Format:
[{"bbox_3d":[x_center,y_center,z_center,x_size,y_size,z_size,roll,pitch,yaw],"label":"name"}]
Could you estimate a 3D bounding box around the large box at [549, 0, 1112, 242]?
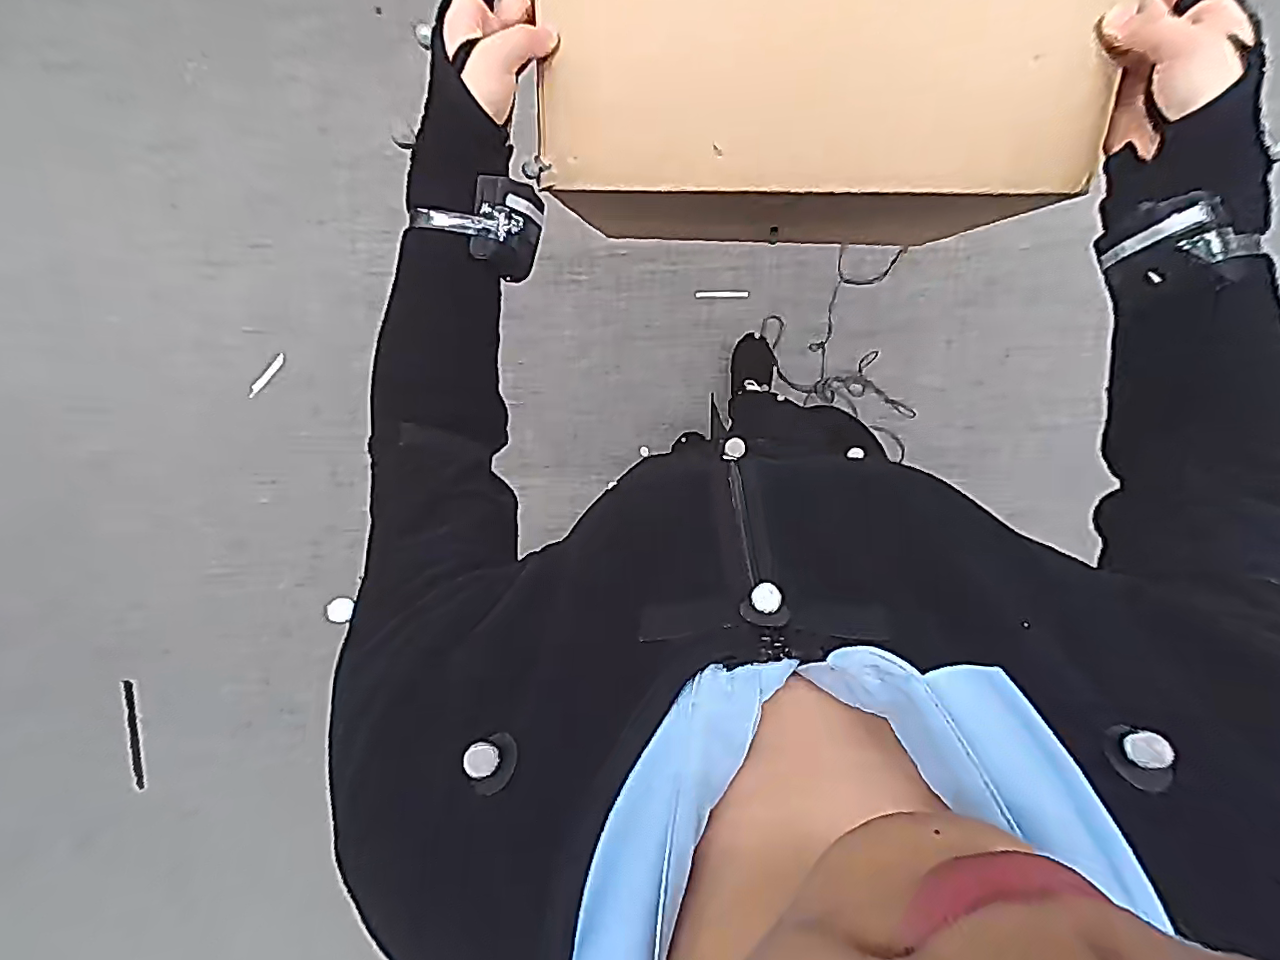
[{"bbox_3d":[0.146,-0.414,0.522,0.408,0.320,0.320,3,106,6],"label":"large box"}]
